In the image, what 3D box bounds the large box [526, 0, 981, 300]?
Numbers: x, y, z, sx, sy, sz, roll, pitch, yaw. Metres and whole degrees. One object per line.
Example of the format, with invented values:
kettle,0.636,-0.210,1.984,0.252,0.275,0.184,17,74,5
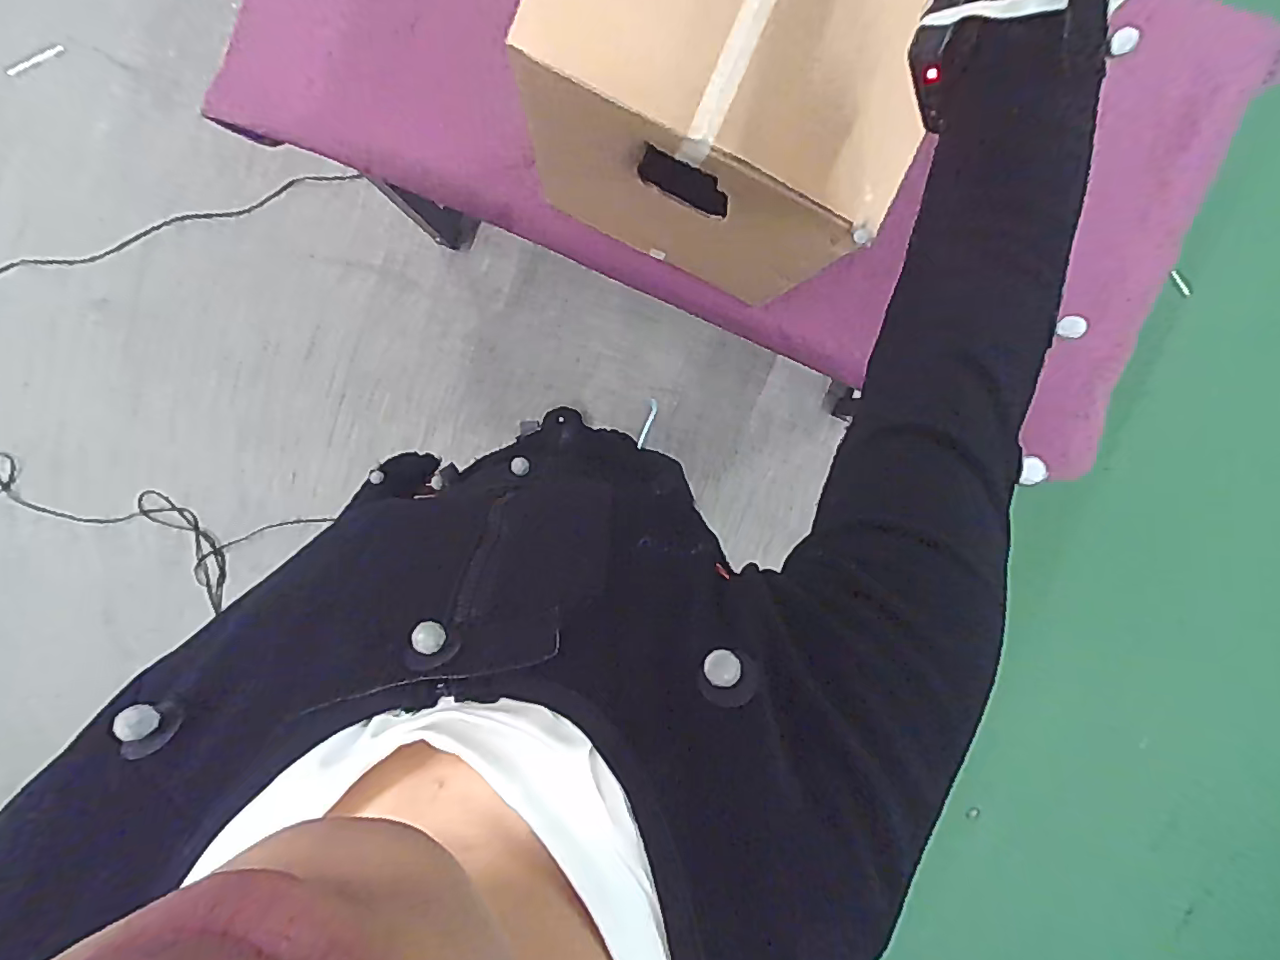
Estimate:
large box,0.118,-0.459,0.556,0.320,0.320,0.408,25,96,-7
